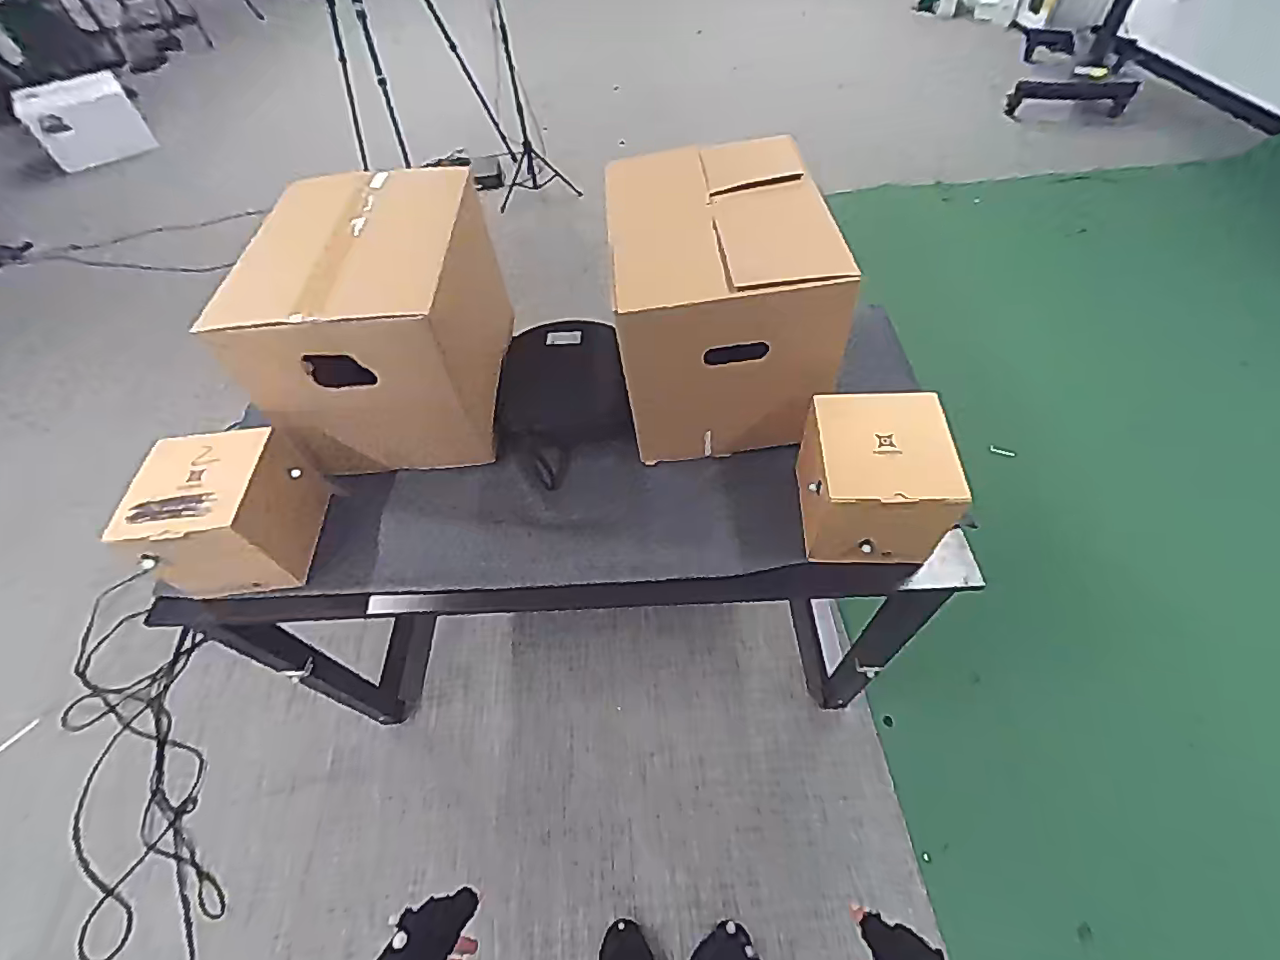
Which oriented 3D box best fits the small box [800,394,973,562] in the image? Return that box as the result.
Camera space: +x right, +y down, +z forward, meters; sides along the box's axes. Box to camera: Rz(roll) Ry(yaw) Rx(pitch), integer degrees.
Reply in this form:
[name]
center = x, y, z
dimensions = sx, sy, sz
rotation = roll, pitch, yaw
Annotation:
[small box]
center = 0.326, -0.001, 0.760
dimensions = 0.168, 0.176, 0.179
rotation = 0, 57, 6
